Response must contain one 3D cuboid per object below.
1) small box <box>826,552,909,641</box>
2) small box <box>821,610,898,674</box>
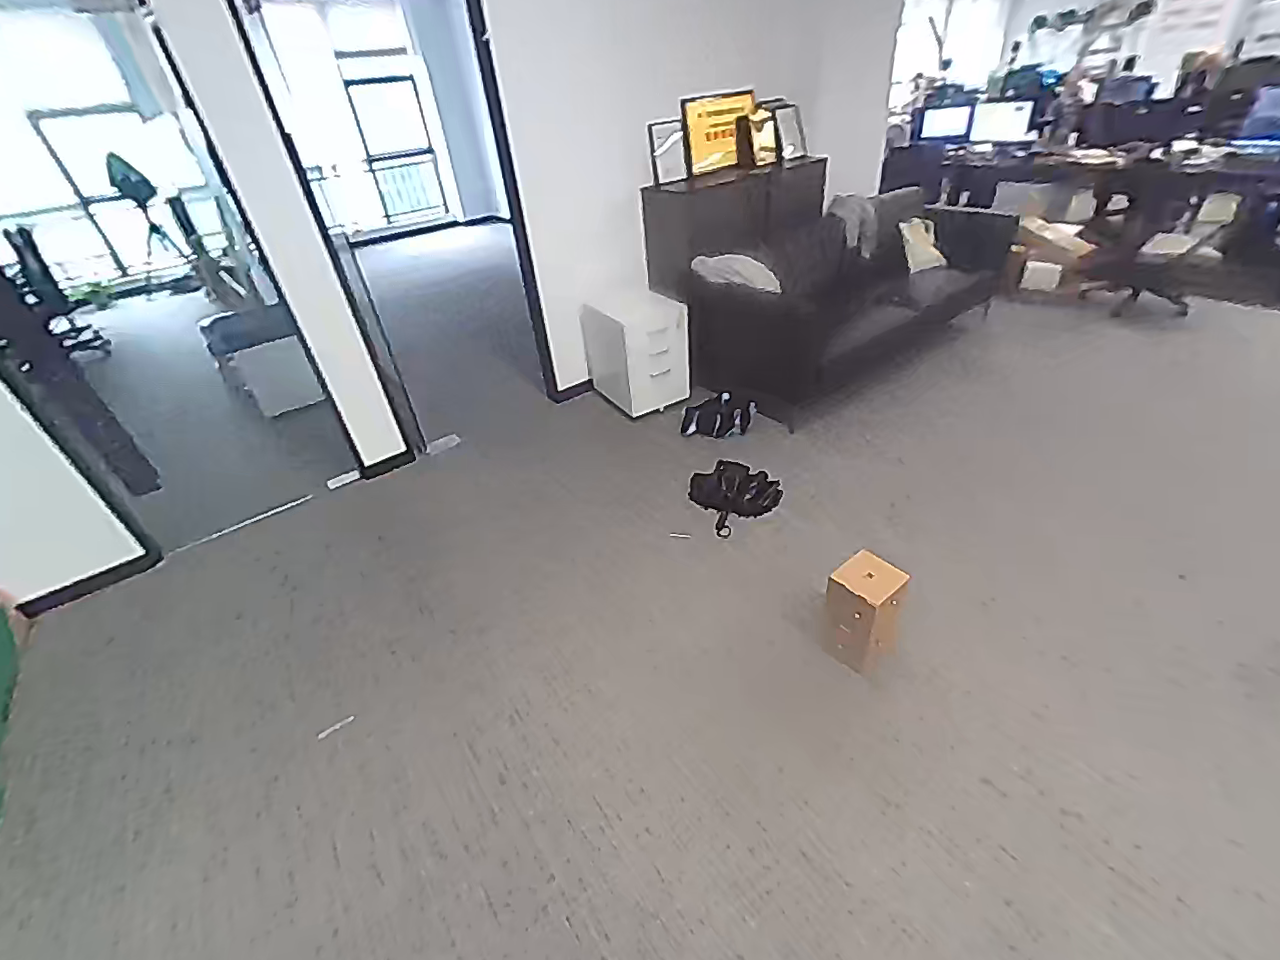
[{"bbox_3d":[0.696,0.362,1.672,0.179,0.176,0.168,-27,41,-29],"label":"small box"},{"bbox_3d":[0.709,0.494,1.766,0.179,0.176,0.168,-29,41,-28],"label":"small box"}]
